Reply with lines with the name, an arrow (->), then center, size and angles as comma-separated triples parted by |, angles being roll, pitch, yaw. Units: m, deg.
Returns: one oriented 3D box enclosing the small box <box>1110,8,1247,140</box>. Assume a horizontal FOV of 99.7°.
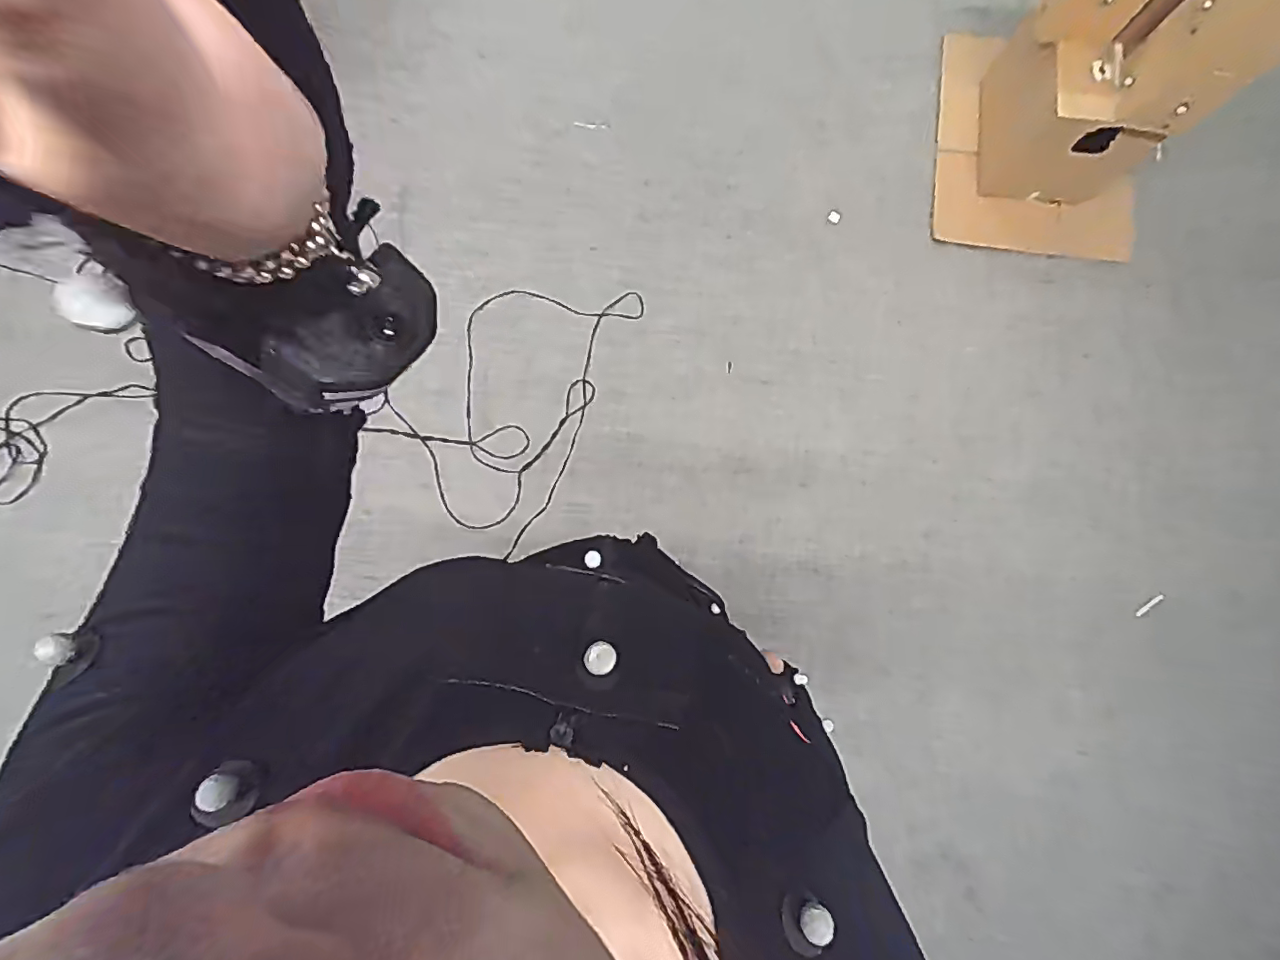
small box -> 1.252, -0.941, 1.268 | 0.168, 0.176, 0.179 | 9, 81, 0
